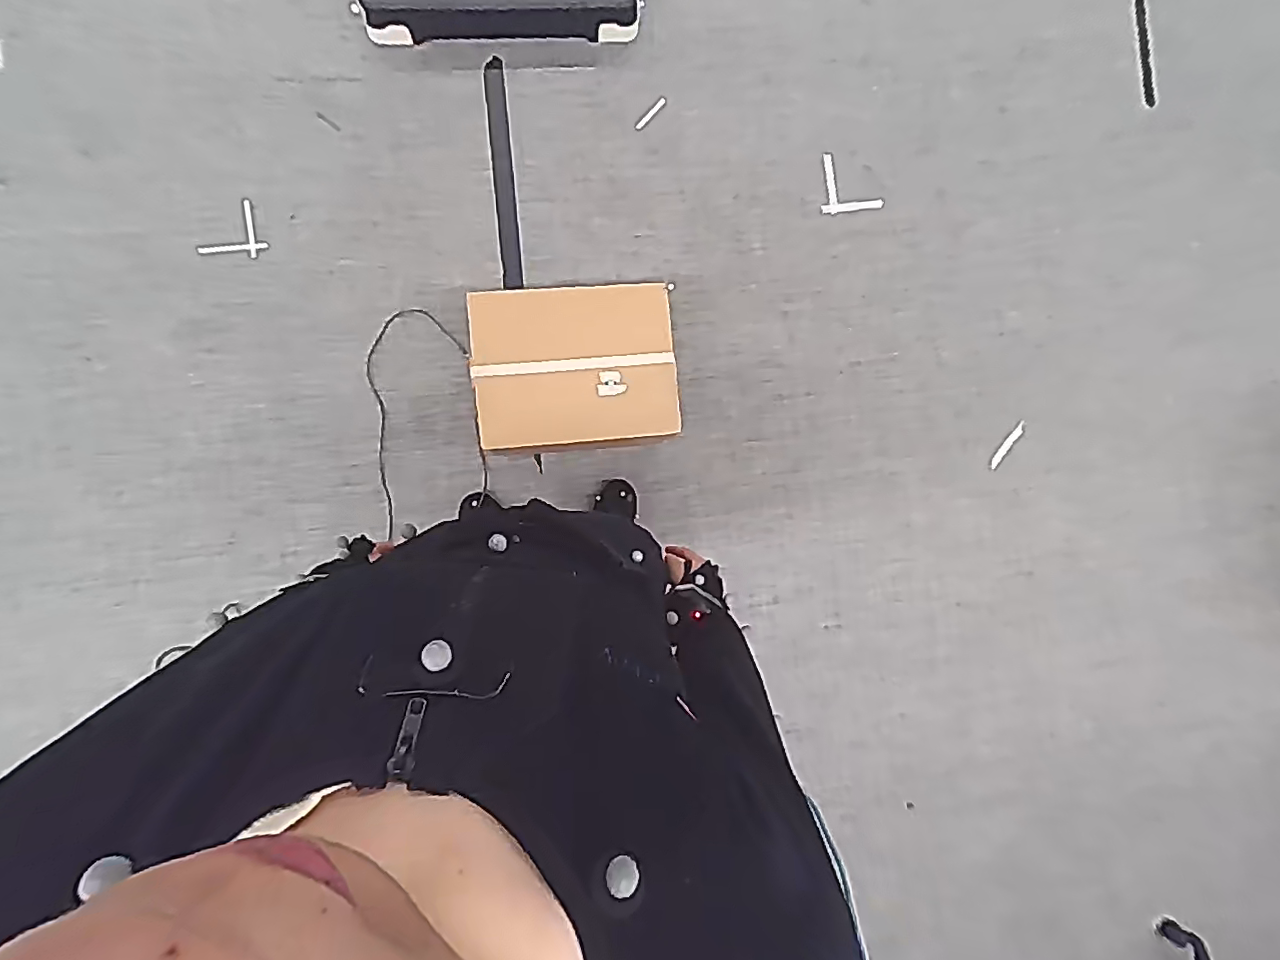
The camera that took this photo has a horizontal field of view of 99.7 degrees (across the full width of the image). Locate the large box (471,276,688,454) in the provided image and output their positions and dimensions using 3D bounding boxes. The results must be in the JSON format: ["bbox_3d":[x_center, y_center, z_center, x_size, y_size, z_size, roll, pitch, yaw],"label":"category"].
[{"bbox_3d":[-0.134,-0.237,1.207,0.408,0.320,0.320,-6,91,-8],"label":"large box"}]
